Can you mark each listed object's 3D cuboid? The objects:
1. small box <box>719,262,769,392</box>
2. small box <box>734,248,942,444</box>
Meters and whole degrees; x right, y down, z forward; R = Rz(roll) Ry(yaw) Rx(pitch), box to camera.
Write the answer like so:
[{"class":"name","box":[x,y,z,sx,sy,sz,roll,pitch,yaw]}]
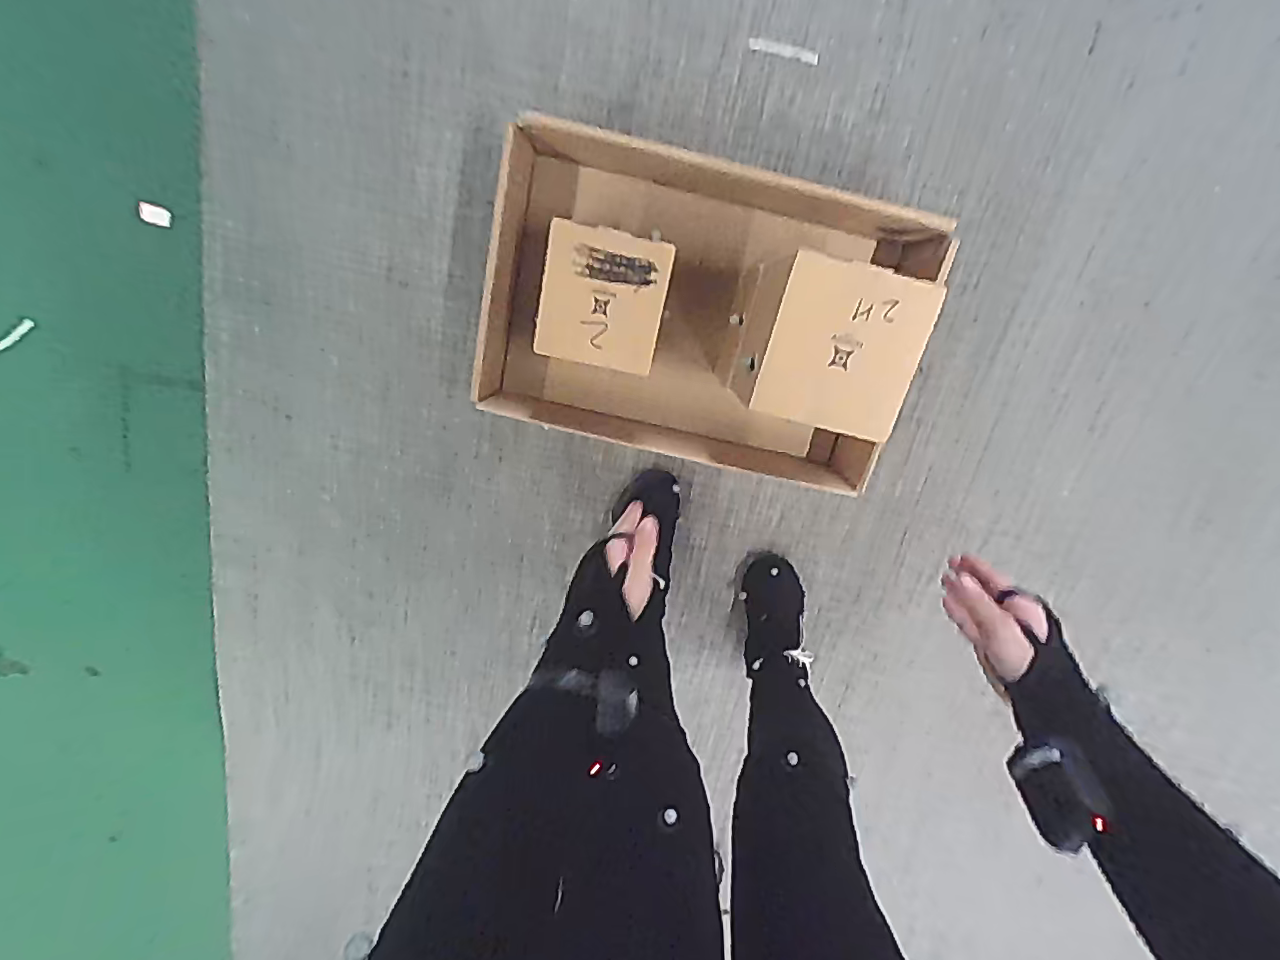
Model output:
[{"class":"small box","box":[0.223,-0.214,0.820,0.168,0.176,0.179,14,108,-3]},{"class":"small box","box":[0.221,-0.165,0.662,0.168,0.176,0.179,14,108,-3]}]
